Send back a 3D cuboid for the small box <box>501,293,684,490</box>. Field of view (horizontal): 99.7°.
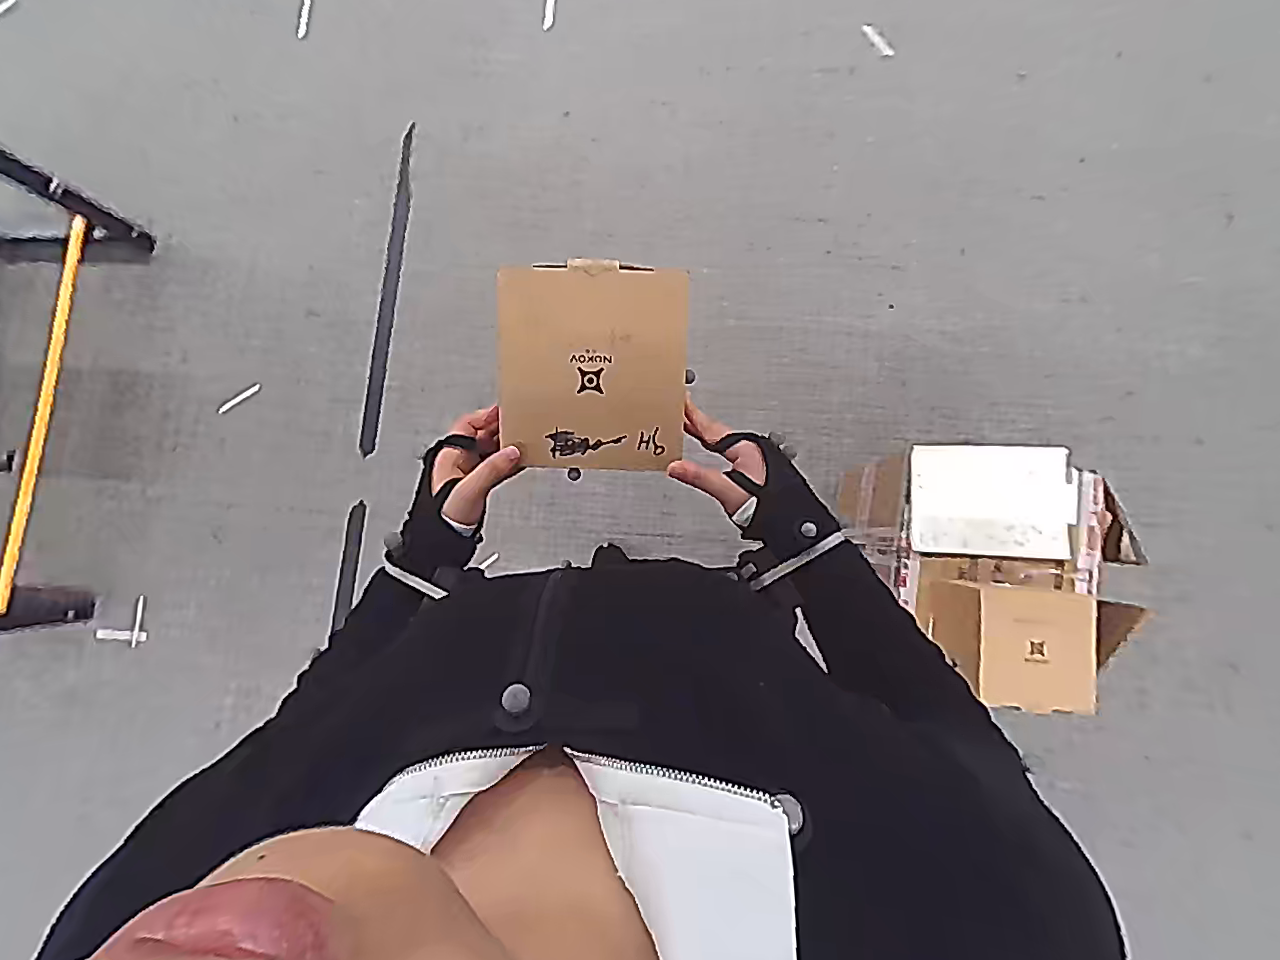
[{"bbox_3d":[-0.044,-0.091,0.572,0.168,0.176,0.179,1,100,1],"label":"small box"}]

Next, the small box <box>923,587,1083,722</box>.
[{"bbox_3d":[0.596,0.281,0.907,0.168,0.176,0.179,3,85,5],"label":"small box"}]
